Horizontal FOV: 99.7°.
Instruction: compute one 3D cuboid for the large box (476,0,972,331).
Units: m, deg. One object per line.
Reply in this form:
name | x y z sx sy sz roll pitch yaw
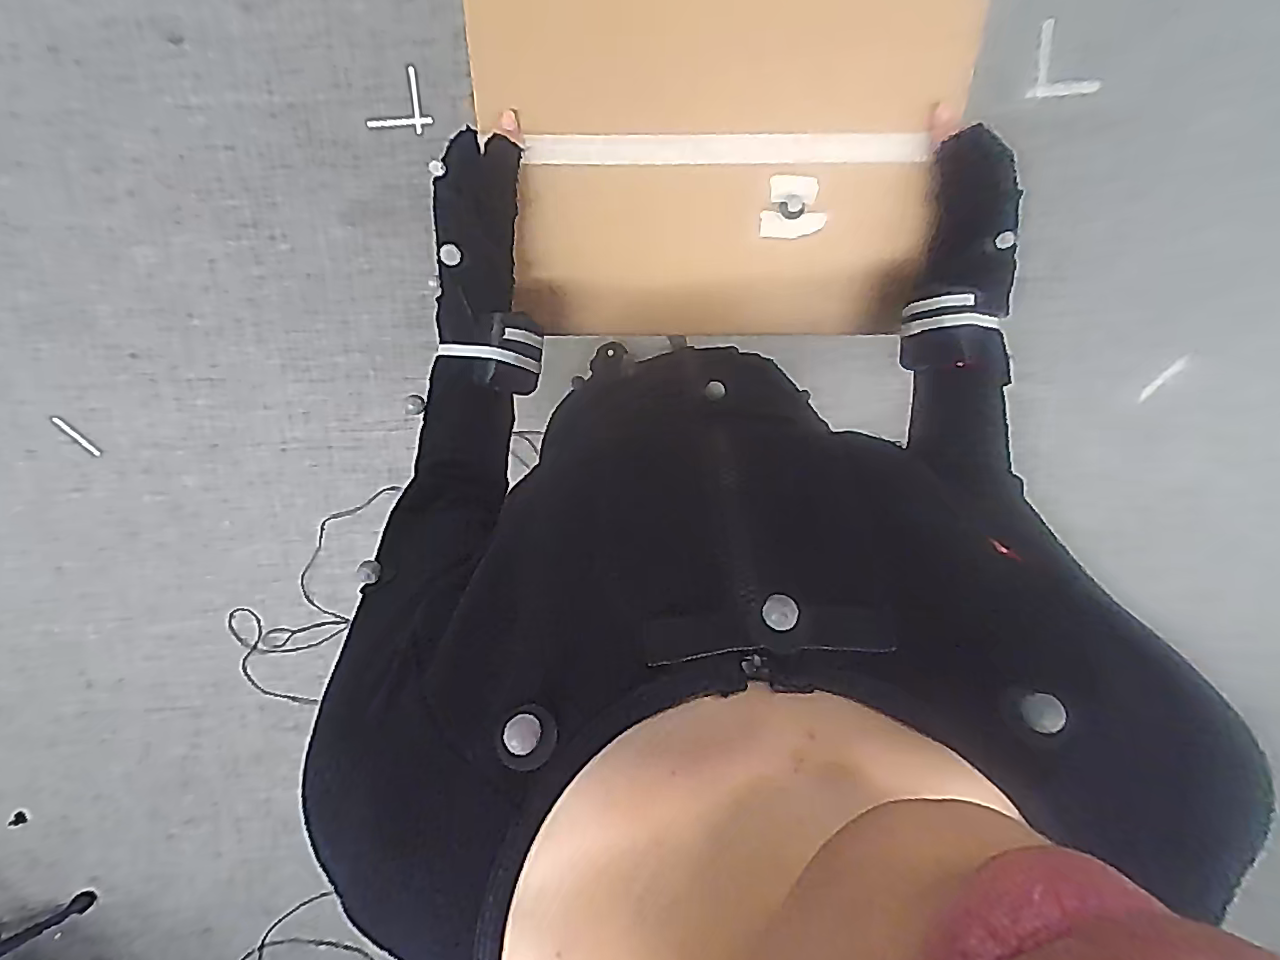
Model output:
large box | 0.067 -0.356 0.608 0.408 0.320 0.320 -1 116 -1
